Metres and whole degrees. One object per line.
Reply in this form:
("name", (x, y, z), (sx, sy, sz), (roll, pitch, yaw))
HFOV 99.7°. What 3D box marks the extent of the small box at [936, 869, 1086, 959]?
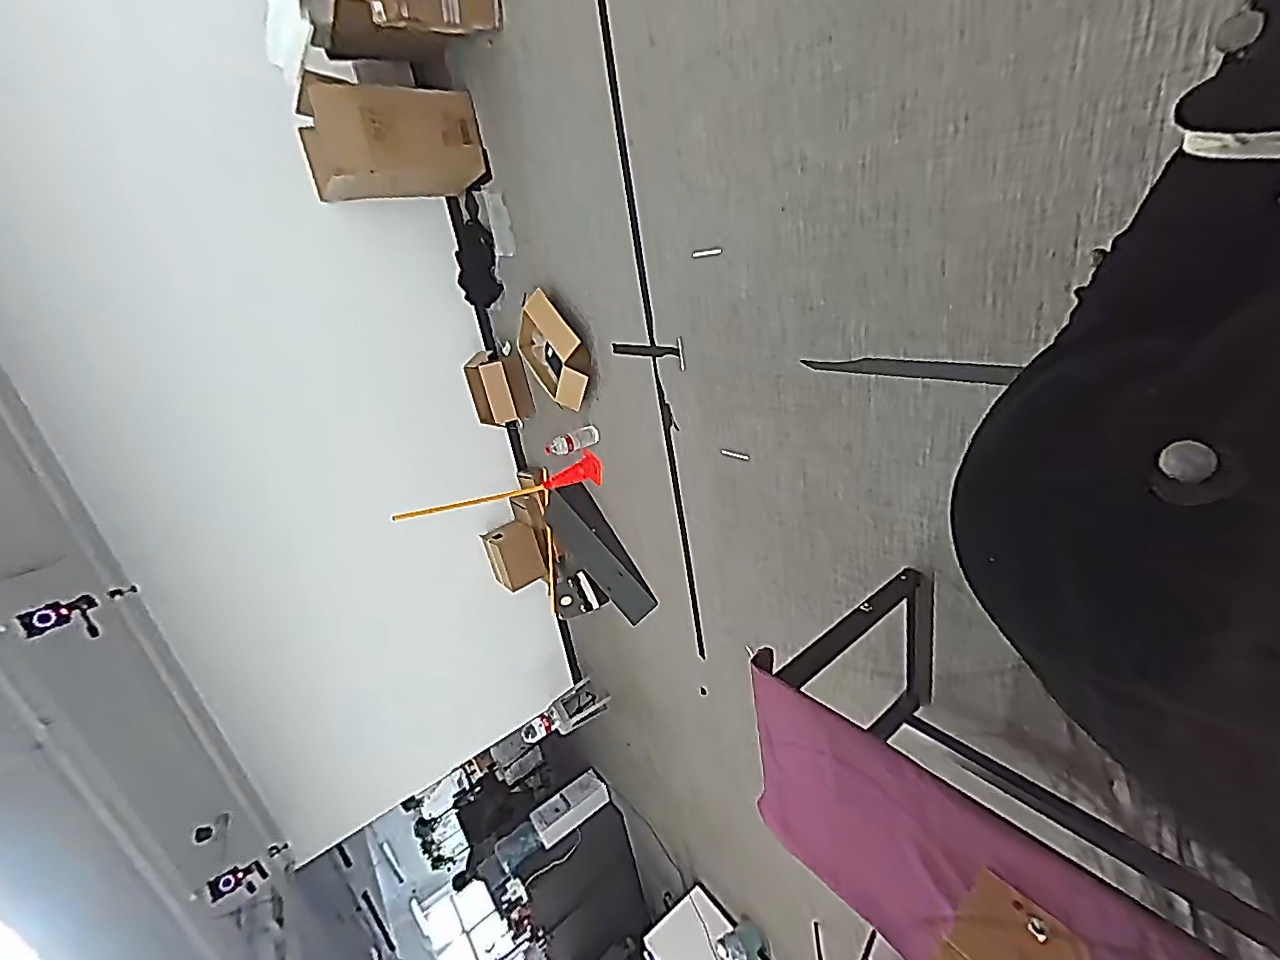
("small box", (0.638, 0.842, 0.939), (0.168, 0.176, 0.179), (21, 127, 48))
